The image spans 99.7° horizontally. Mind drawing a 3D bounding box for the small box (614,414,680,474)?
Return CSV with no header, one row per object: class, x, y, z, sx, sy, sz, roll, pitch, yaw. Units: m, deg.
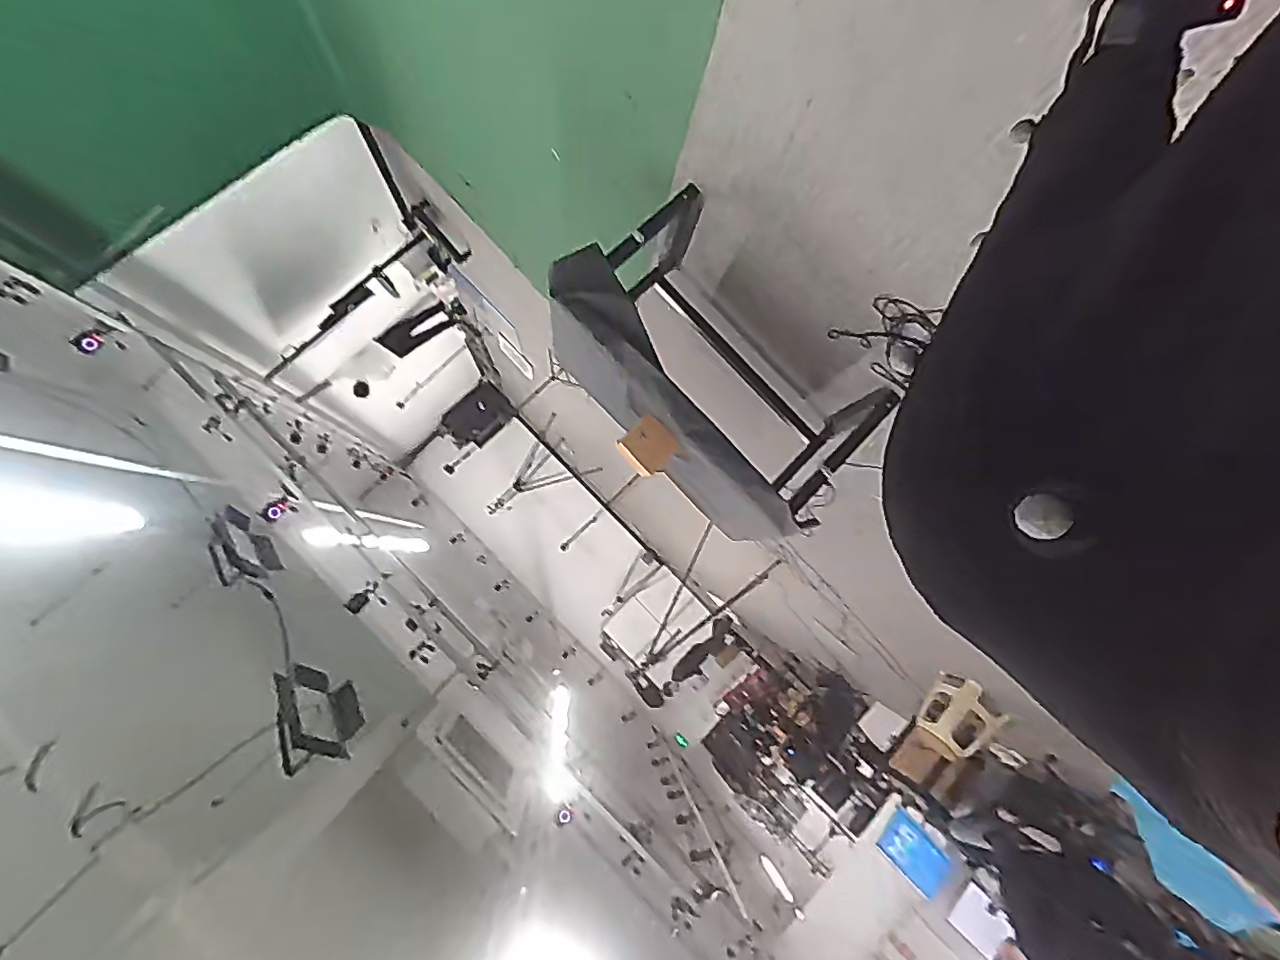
small box,0.026,-0.144,2.108,0.179,0.176,0.168,47,171,-8
